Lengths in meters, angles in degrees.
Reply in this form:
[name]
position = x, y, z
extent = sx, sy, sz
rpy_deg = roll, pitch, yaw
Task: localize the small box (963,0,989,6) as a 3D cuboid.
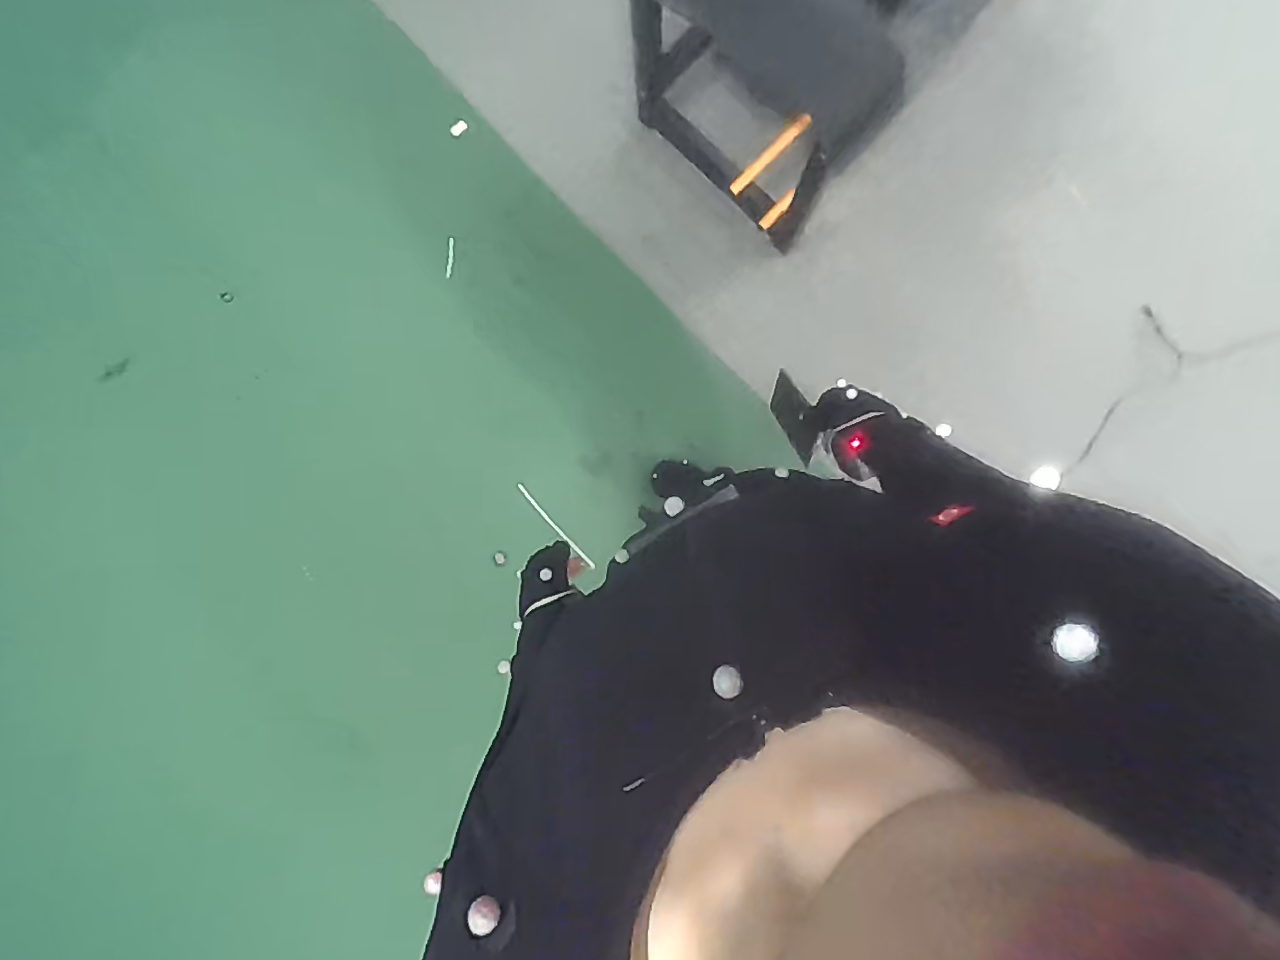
[small box]
position = 0.858, -1.307, 1.301
extent = 0.168, 0.176, 0.179
rpy_deg = -42, 88, 1
